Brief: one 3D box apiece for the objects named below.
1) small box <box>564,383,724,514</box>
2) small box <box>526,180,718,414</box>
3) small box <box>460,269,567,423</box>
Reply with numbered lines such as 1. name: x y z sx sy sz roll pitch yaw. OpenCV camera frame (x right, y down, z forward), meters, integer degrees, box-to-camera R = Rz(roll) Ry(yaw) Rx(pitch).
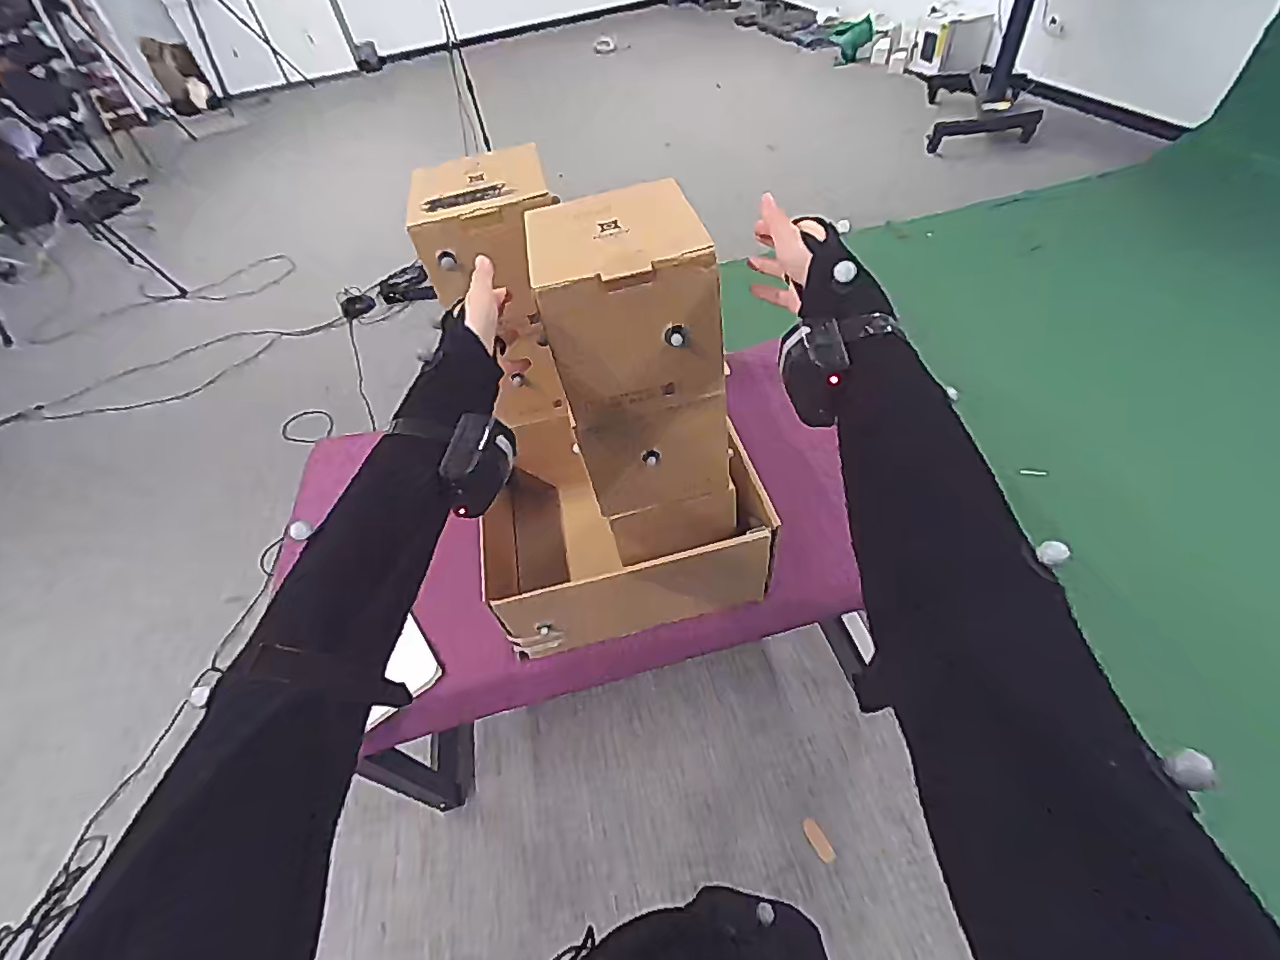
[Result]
1. small box: 0.005 -0.081 0.702 0.179 0.176 0.168 -14 47 0
2. small box: -0.017 -0.188 0.581 0.168 0.176 0.179 -13 47 -1
3. small box: -0.171 -0.208 0.852 0.168 0.176 0.179 -13 50 -2
